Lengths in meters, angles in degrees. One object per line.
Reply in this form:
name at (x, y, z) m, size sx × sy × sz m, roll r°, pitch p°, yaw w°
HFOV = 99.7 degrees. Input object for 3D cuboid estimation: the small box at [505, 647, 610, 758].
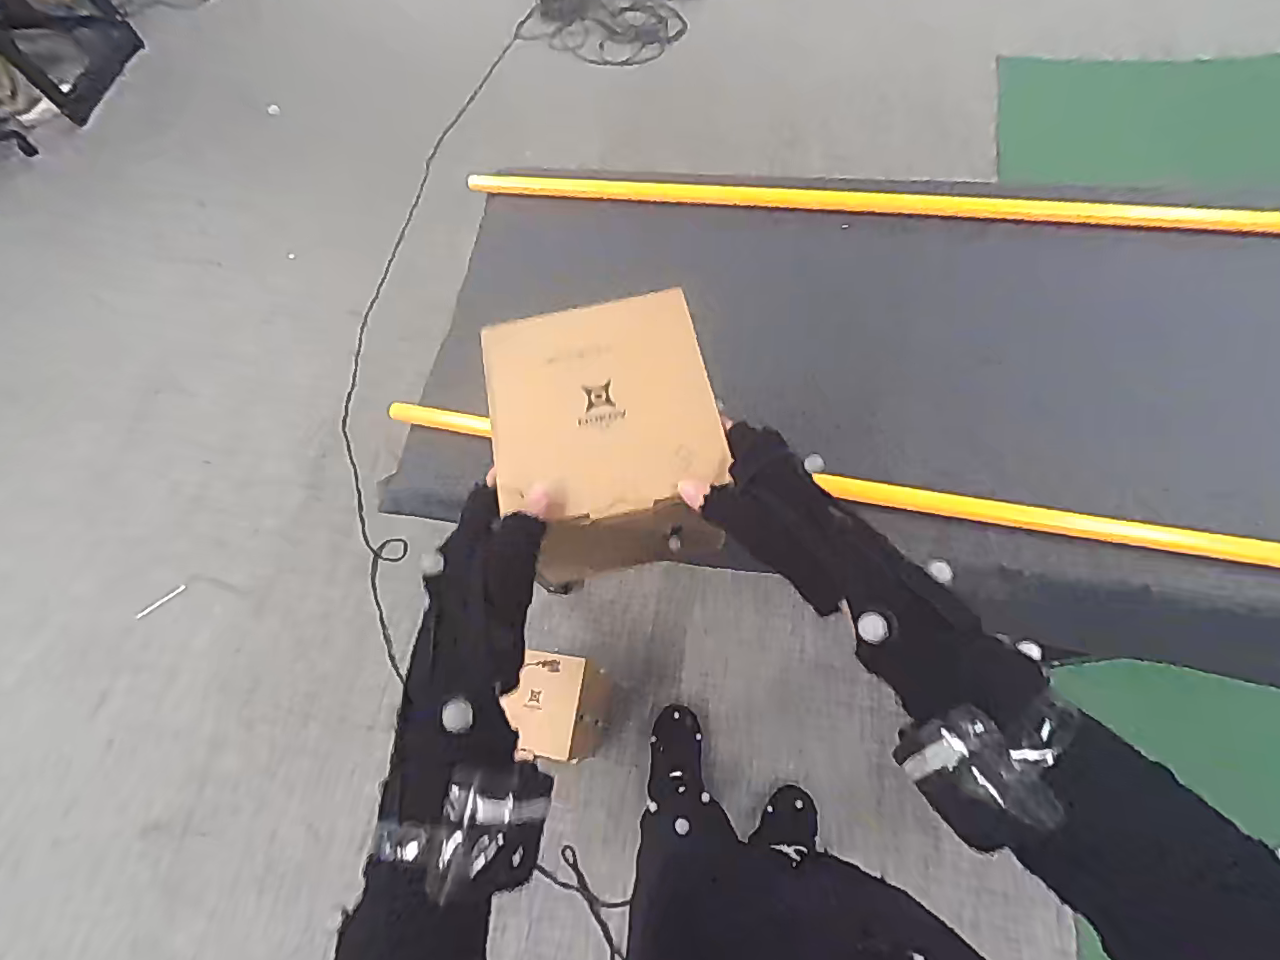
small box at (-0.172, 0.489, 1.200) m, size 0.168 × 0.176 × 0.179 m, roll 15°, pitch 71°, yaw 12°

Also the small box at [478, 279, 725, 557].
small box at (-0.030, -0.039, 0.476) m, size 0.168 × 0.176 × 0.179 m, roll -11°, pitch 68°, yaw -2°
